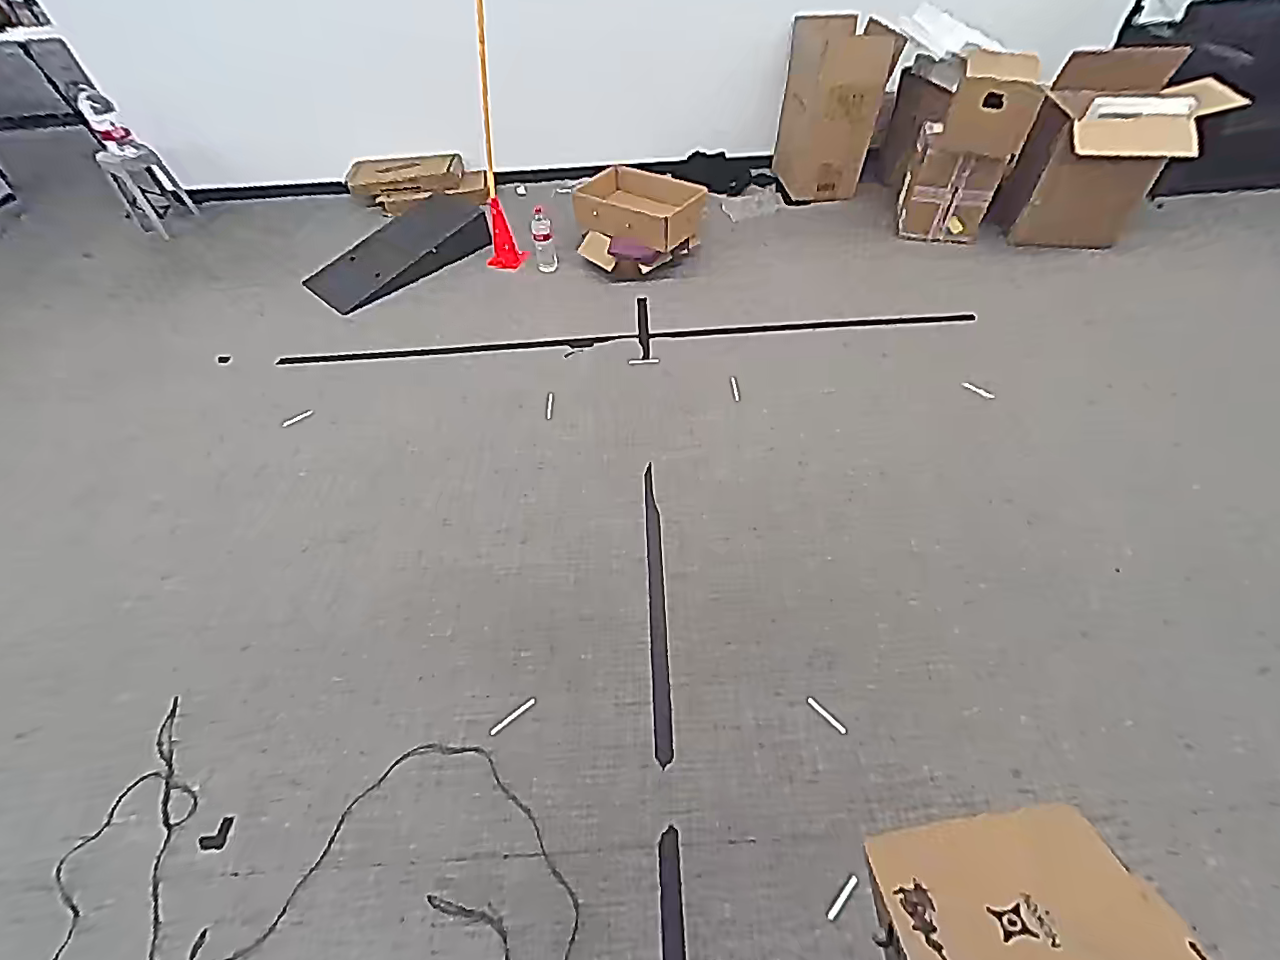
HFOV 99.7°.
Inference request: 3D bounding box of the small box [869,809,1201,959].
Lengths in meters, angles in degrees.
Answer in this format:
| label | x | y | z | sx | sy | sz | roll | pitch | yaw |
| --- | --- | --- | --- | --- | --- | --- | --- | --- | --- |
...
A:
| label | x | y | z | sx | sy | sz | roll | pitch | yaw |
| --- | --- | --- | --- | --- | --- | --- | --- | --- | --- |
| small box | 0.298 | 0.393 | 0.407 | 0.179 | 0.176 | 0.168 | -14 | 14 | 7 |
